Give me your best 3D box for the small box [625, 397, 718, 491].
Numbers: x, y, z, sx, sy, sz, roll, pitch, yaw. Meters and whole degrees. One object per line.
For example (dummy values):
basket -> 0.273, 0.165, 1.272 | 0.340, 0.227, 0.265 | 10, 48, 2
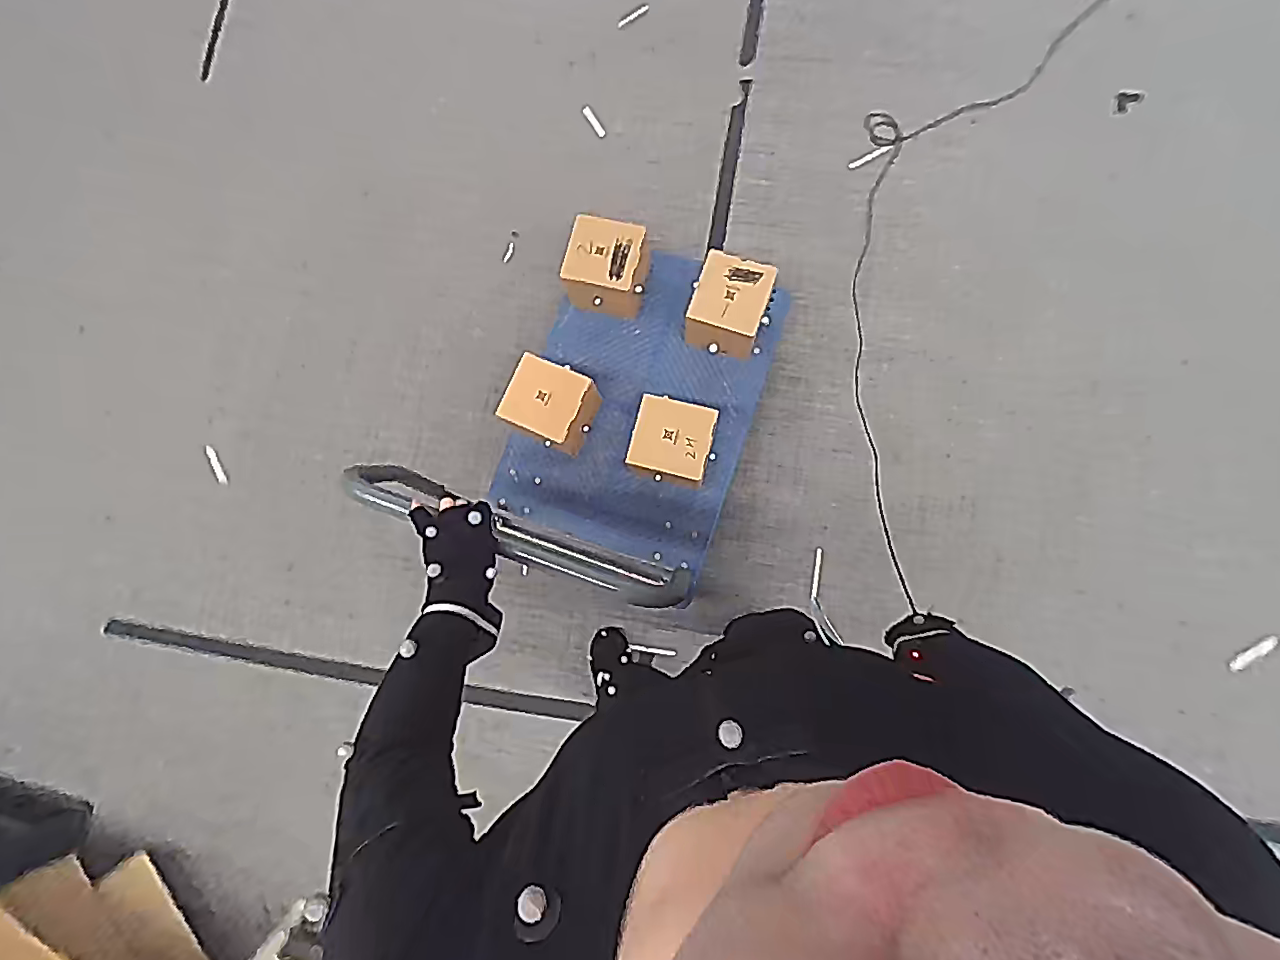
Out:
small box -> 0.076, -0.078, 1.279 | 0.179, 0.176, 0.168 | 14, 83, 7

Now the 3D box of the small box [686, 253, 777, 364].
small box -> 0.215, -0.410, 1.315 | 0.168, 0.176, 0.179 | 19, 85, 7

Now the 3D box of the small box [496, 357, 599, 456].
small box -> -0.217, -0.171, 1.319 | 0.179, 0.176, 0.168 | 23, 84, 6
